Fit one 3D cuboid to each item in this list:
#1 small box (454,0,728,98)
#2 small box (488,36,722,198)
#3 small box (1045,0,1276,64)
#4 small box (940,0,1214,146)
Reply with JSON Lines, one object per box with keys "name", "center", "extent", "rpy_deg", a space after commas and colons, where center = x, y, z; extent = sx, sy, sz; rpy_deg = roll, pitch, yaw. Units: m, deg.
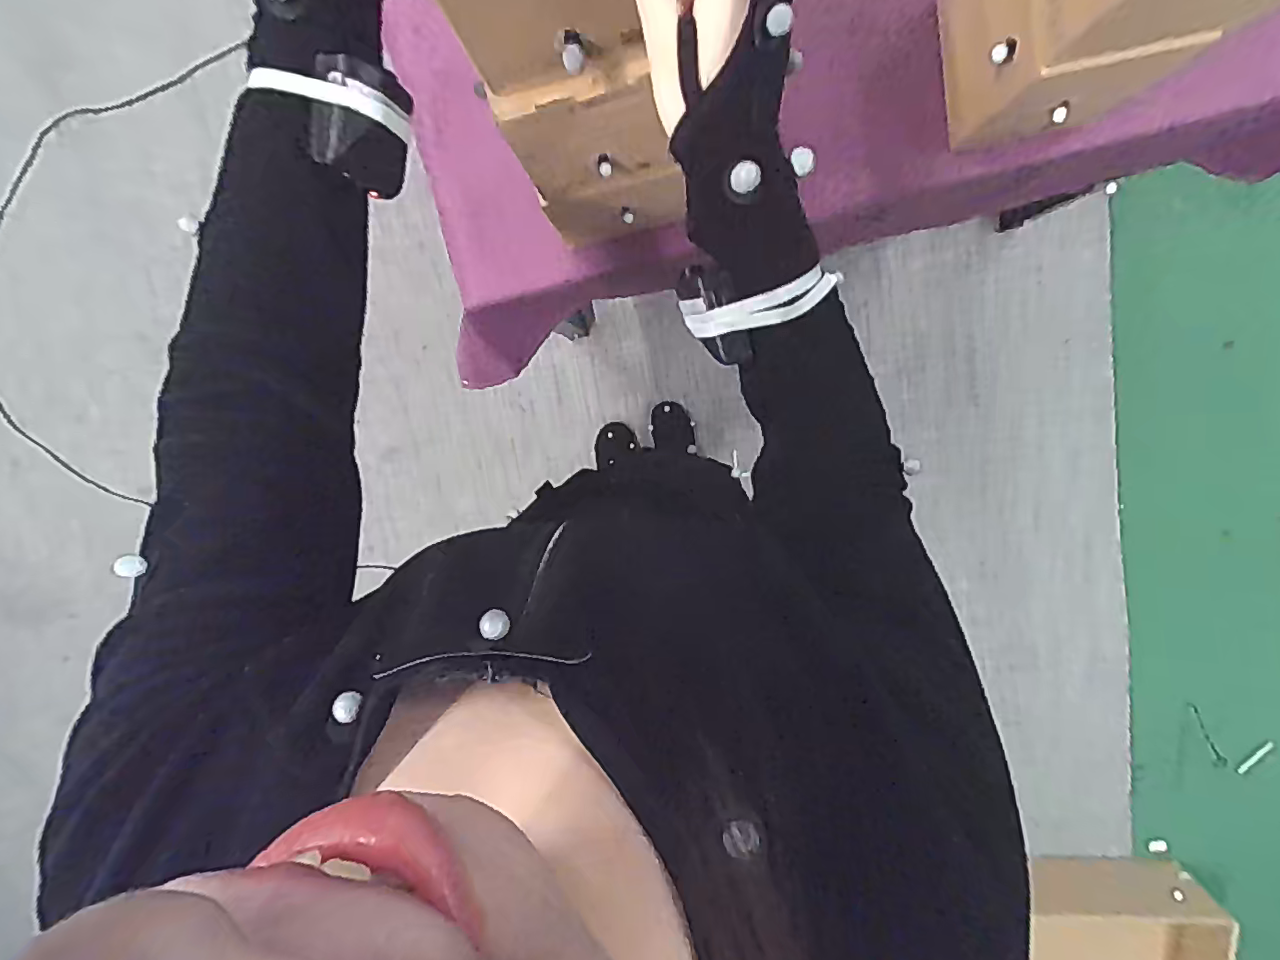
{"name": "small box", "center": [-0.042, -0.356, 0.290], "extent": [0.168, 0.176, 0.179], "rpy_deg": [-12, 100, 5]}
{"name": "small box", "center": [-0.036, -0.371, 0.453], "extent": [0.168, 0.176, 0.179], "rpy_deg": [-12, 99, 5]}
{"name": "small box", "center": [0.451, -0.466, 0.418], "extent": [0.179, 0.176, 0.168], "rpy_deg": [-9, 99, 3]}
{"name": "small box", "center": [0.451, -0.489, 0.581], "extent": [0.168, 0.176, 0.179], "rpy_deg": [-10, 99, 3]}
